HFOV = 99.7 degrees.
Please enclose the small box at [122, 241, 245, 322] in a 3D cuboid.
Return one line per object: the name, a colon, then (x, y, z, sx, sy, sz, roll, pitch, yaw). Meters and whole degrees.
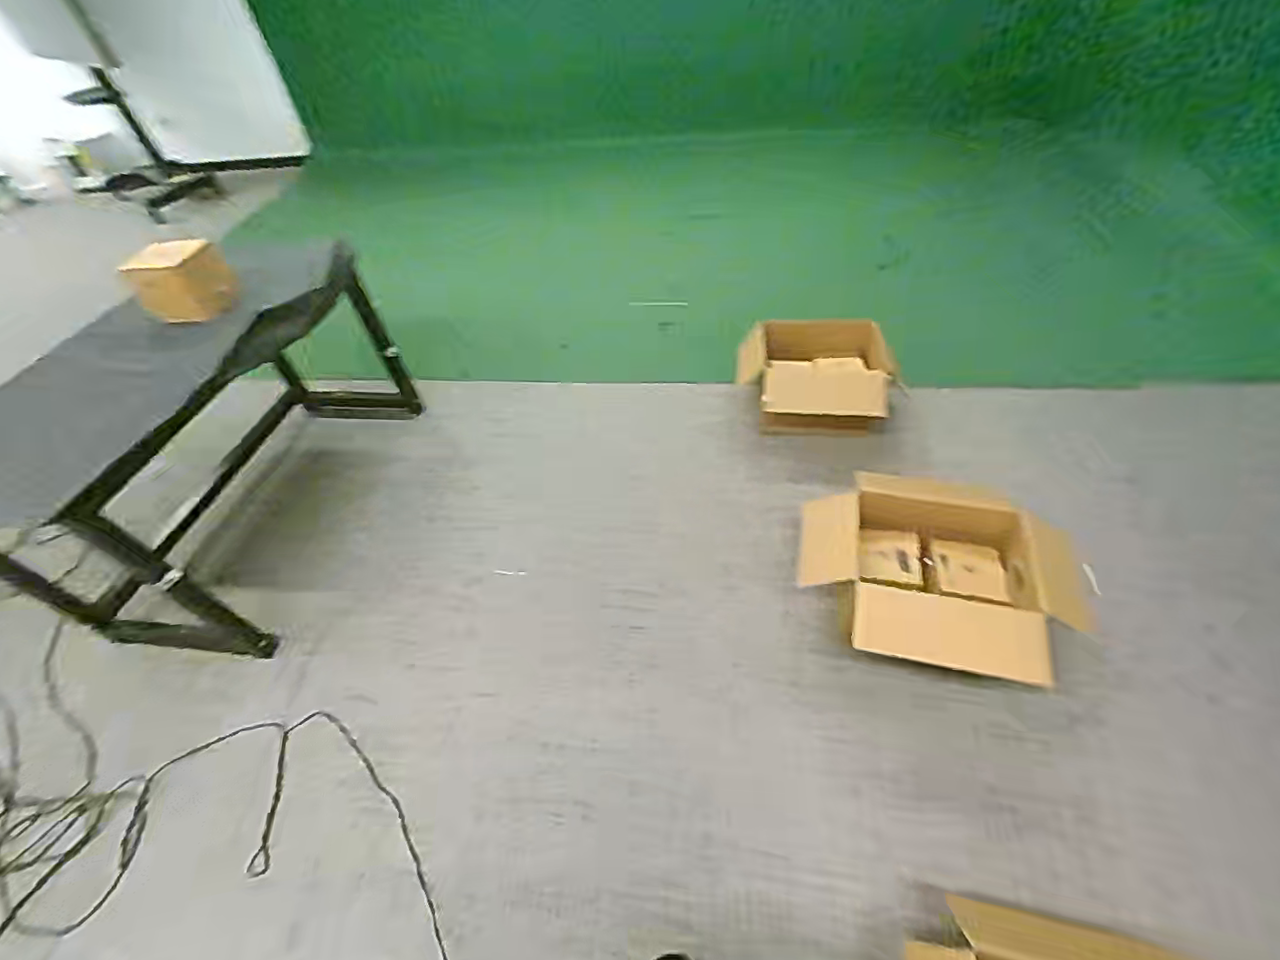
small box: (-1.324, -0.578, 1.584, 0.179, 0.176, 0.168, 1, 48, 7)
